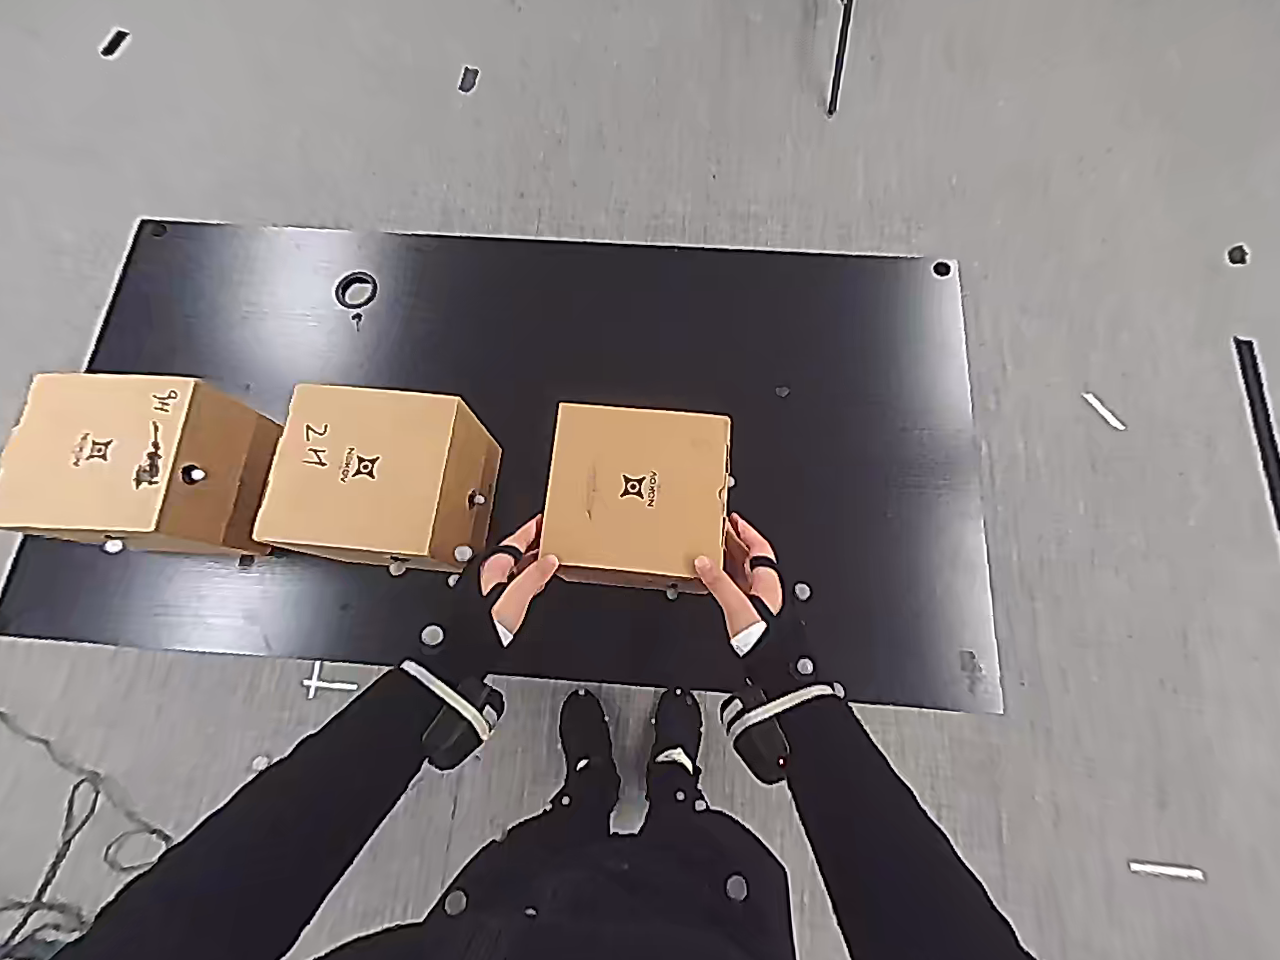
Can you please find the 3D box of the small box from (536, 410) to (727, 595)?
[{"bbox_3d":[-0.003,0.035,0.603,0.179,0.176,0.168,4,73,4],"label":"small box"}]

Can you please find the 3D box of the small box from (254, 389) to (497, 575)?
[{"bbox_3d":[-0.276,0.013,0.613,0.179,0.176,0.168,5,74,3],"label":"small box"}]

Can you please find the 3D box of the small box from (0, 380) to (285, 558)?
[{"bbox_3d":[-0.549,-0.003,0.624,0.179,0.176,0.168,1,74,2],"label":"small box"}]
